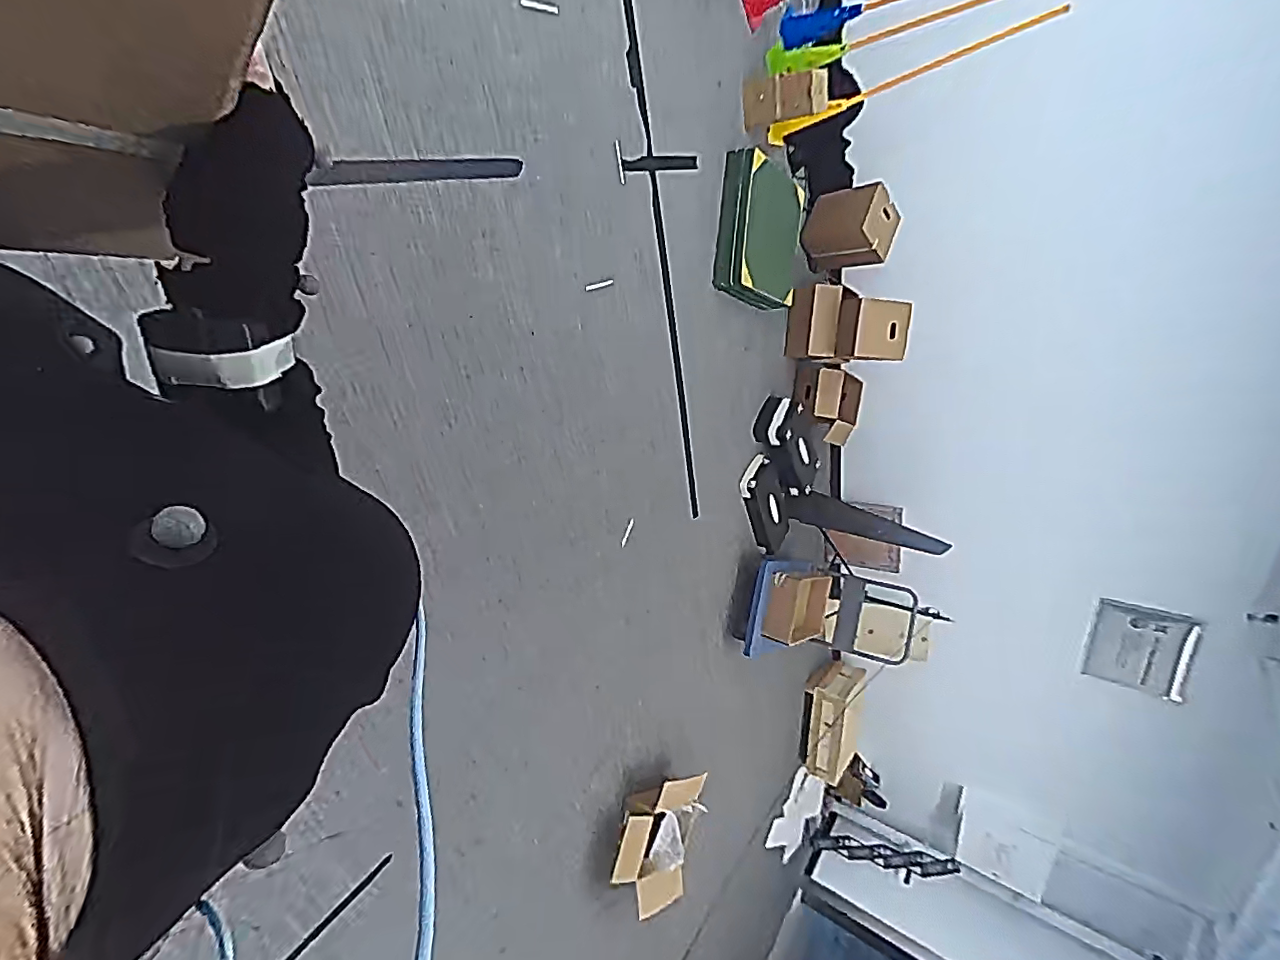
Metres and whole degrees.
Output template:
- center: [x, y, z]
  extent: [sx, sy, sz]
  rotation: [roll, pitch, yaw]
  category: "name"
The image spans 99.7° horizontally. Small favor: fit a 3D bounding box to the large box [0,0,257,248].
- center: [-0.399, -0.288, 0.139]
  extent: [0.408, 0.320, 0.320]
  rotation: [-19, 99, -47]
  category: "large box"
